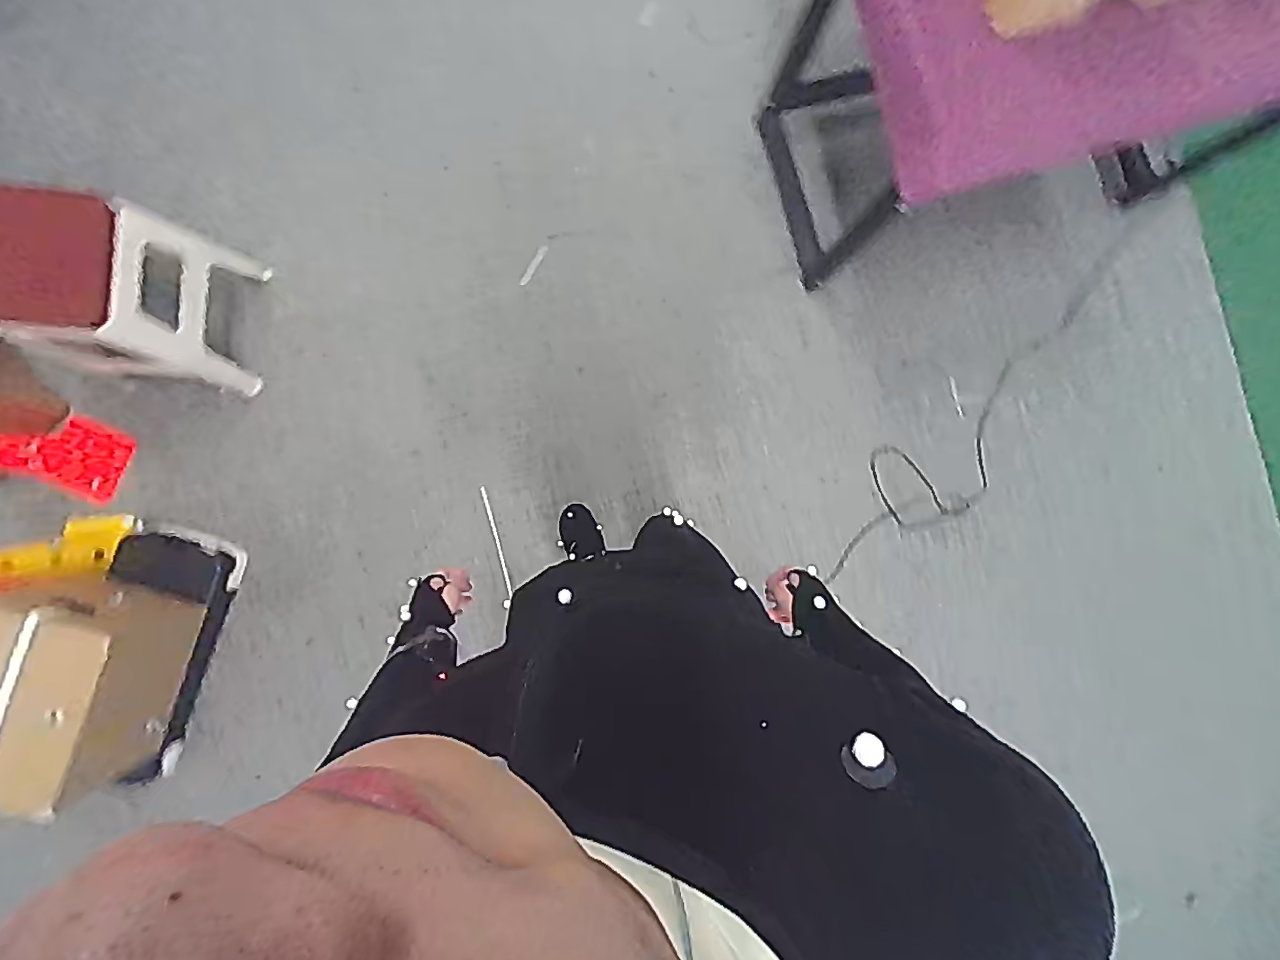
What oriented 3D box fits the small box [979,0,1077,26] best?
[{"bbox_3d":[0.700,-0.926,0.922,0.168,0.176,0.179,-17,90,-6],"label":"small box"}]
